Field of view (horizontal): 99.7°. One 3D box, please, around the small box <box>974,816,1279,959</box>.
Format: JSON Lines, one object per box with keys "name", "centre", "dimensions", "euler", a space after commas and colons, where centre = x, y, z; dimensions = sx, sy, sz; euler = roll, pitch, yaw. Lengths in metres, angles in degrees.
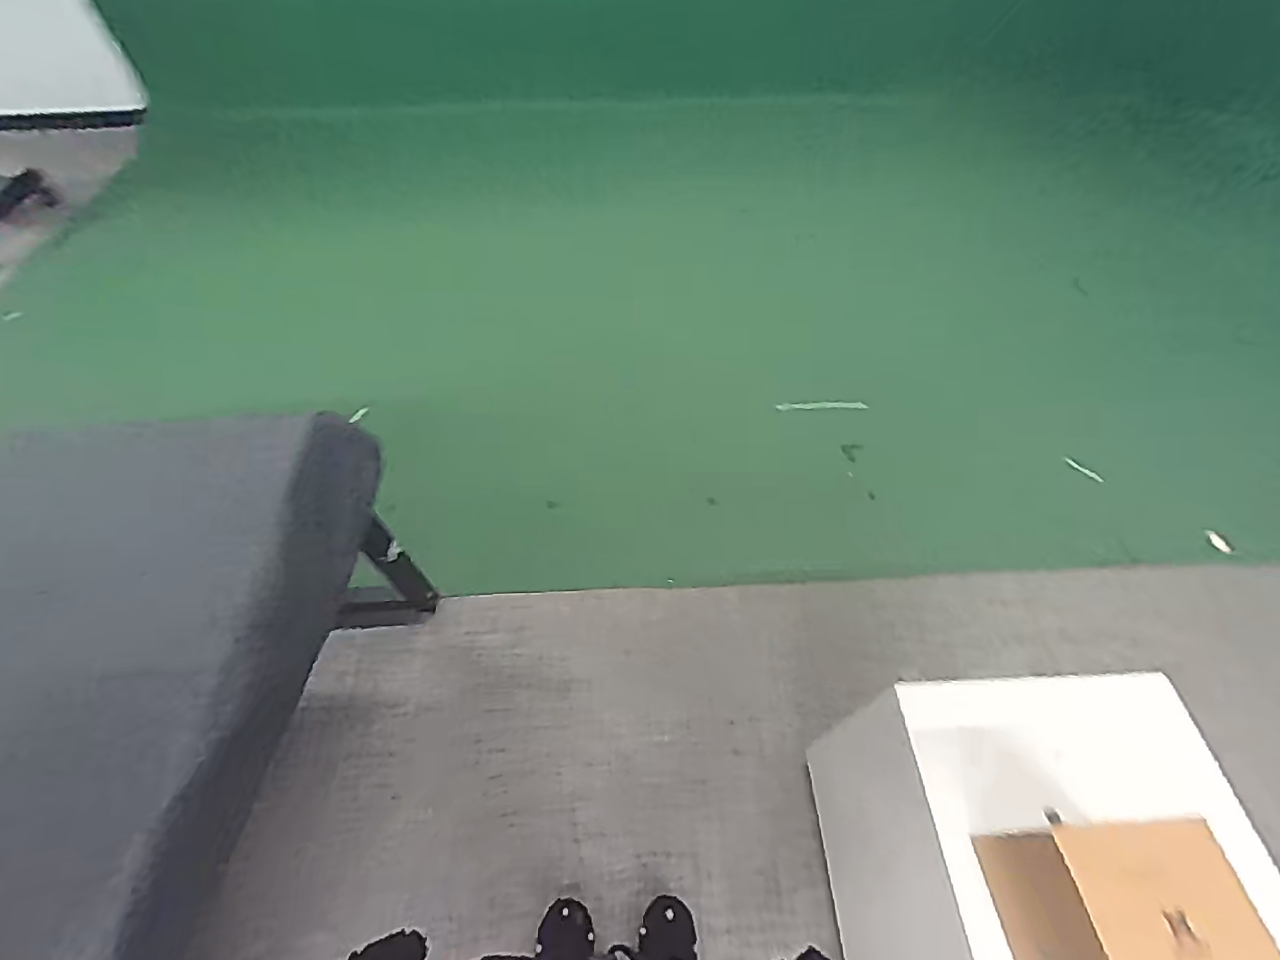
{"name": "small box", "centre": [0.493, 0.459, 0.556], "dimensions": [0.168, 0.176, 0.179], "euler": [-4, 54, -3]}
